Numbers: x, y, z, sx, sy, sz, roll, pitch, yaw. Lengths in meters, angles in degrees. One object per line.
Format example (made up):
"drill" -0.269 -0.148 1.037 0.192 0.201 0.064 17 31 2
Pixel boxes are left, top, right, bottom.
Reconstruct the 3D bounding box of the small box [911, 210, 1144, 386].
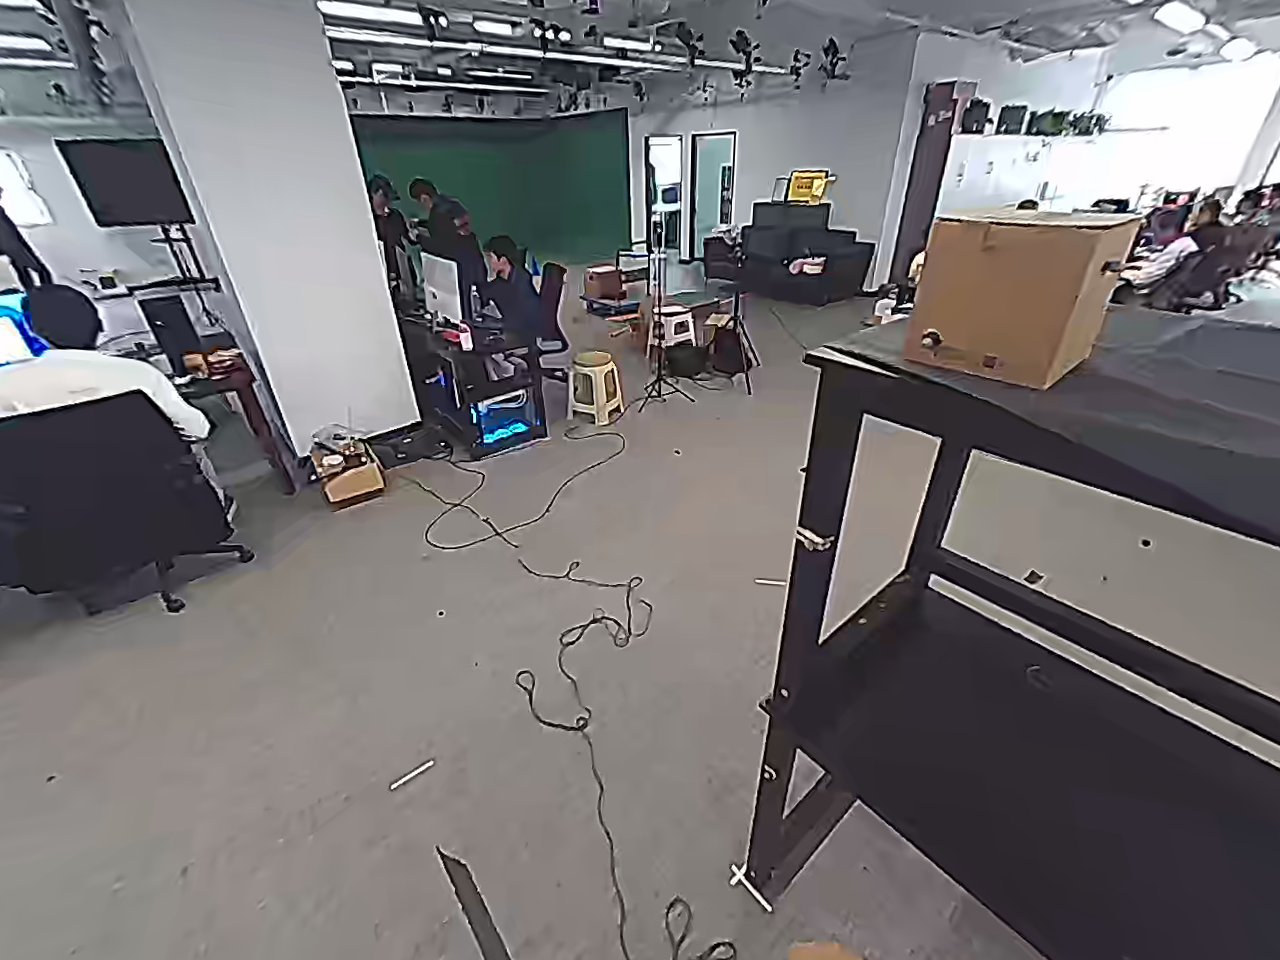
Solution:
"small box" 0.455 -0.226 0.657 0.179 0.176 0.168 -25 38 -34
